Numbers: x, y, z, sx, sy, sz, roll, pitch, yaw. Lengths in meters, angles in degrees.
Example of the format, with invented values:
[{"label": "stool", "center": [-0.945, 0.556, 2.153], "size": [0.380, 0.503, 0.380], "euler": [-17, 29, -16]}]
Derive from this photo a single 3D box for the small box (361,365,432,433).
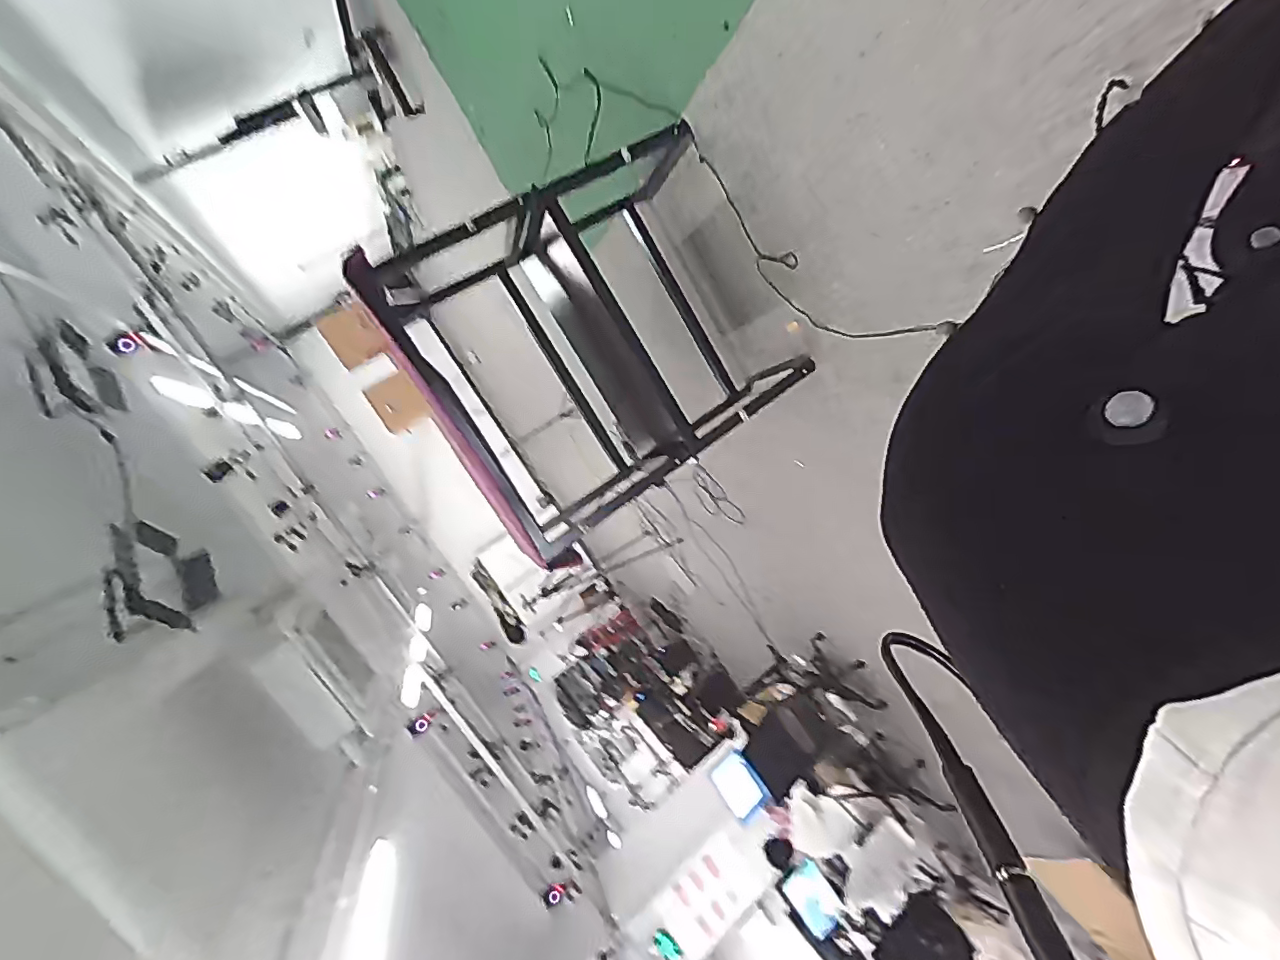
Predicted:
[{"label": "small box", "center": [-0.874, -0.293, 1.968], "size": [0.179, 0.176, 0.168], "euler": [59, 164, -9]}]
